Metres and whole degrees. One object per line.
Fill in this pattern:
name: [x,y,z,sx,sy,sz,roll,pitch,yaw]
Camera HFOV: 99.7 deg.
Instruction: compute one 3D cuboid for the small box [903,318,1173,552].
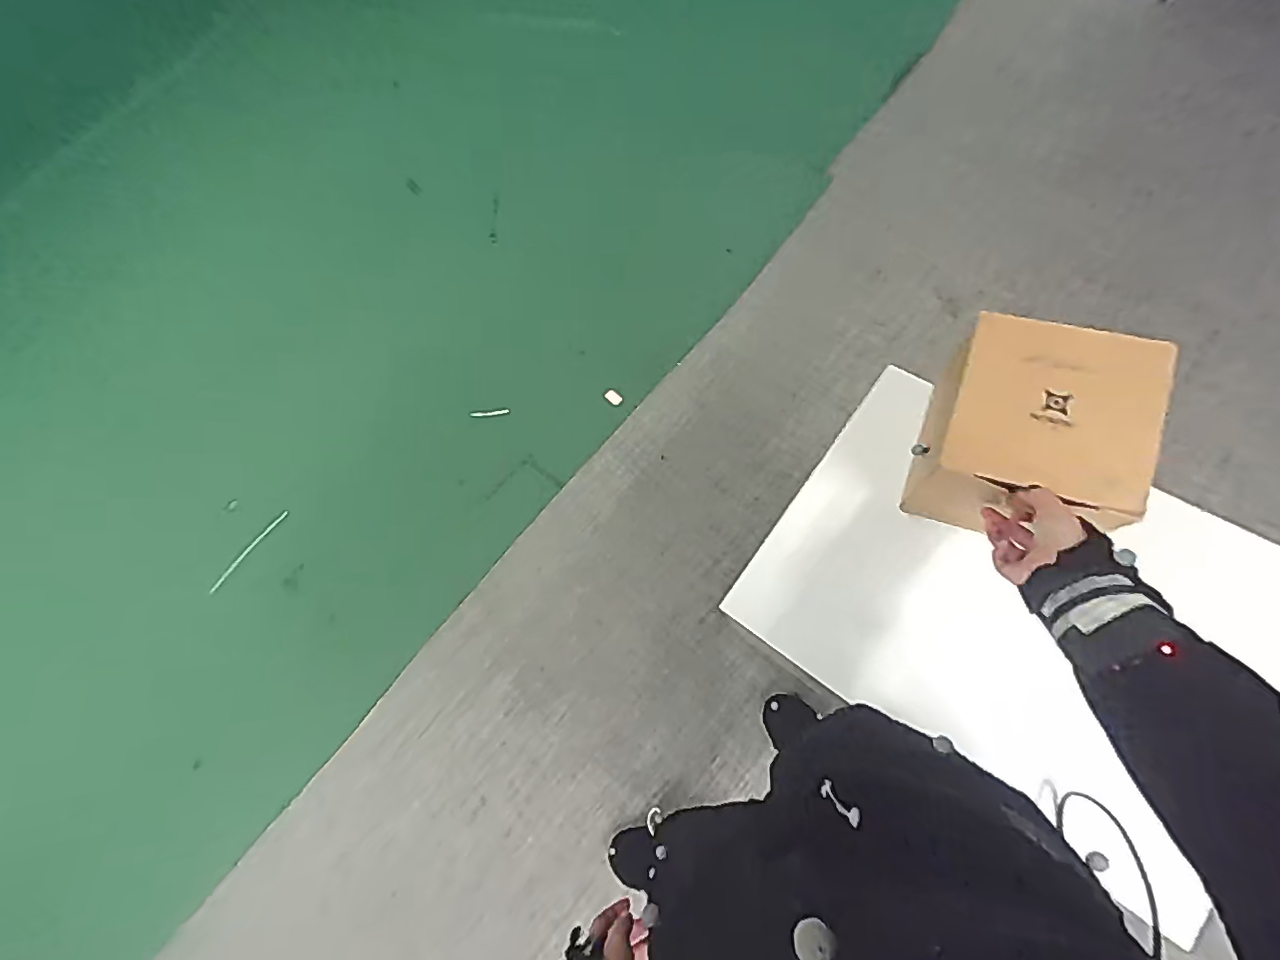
small box: [0.397,-0.037,0.572,0.168,0.176,0.179,18,77,17]
